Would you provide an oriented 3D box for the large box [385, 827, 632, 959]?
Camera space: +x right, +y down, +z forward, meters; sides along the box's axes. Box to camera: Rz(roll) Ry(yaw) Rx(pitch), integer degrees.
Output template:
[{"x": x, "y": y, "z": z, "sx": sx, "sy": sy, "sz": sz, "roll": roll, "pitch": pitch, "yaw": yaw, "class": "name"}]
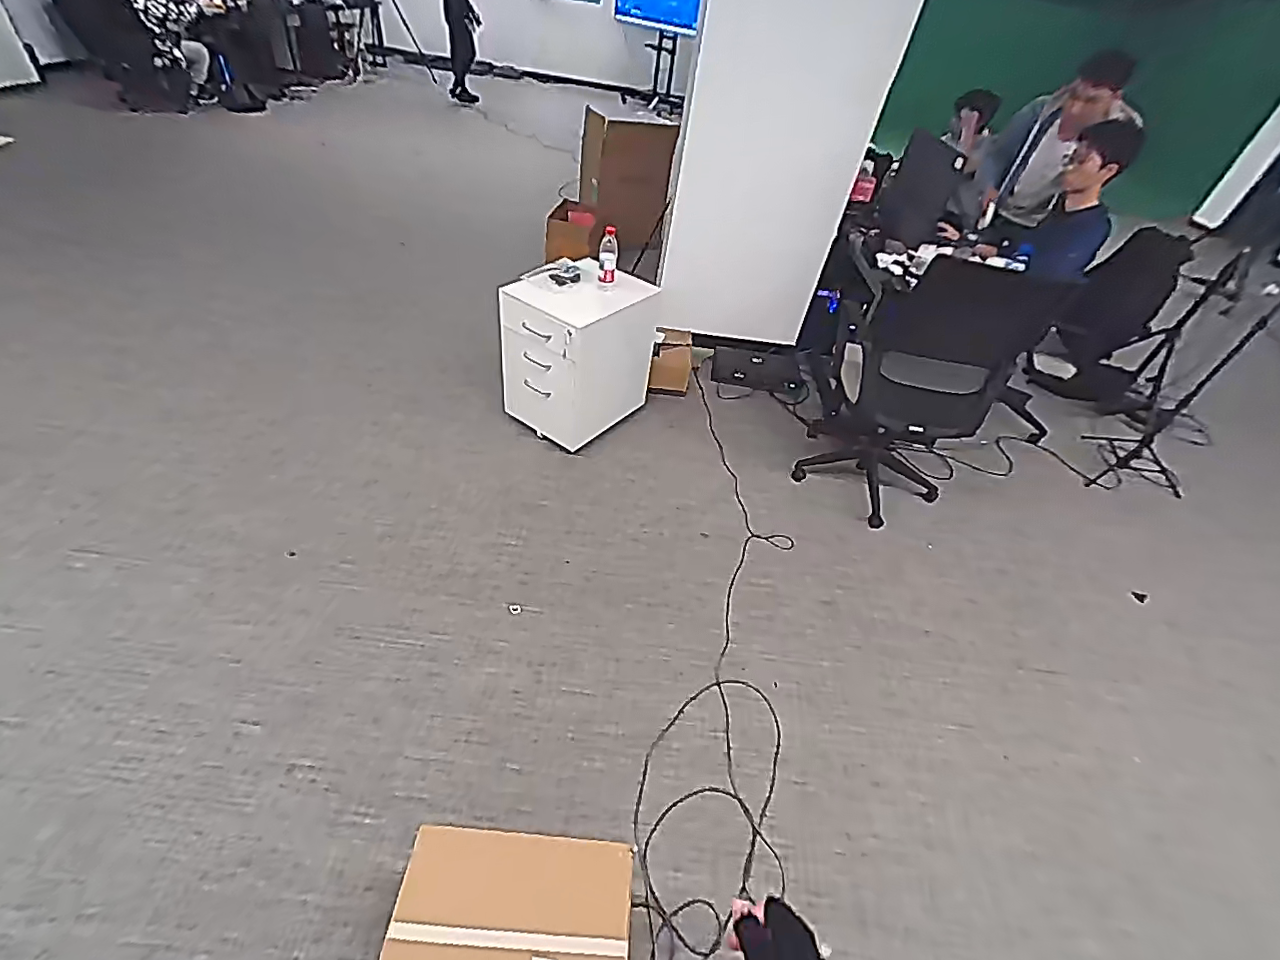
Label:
[{"x": -0.237, "y": 0.889, "z": 1.013, "sx": 0.408, "sy": 0.320, "sz": 0.320, "roll": 7, "pitch": 42, "yaw": -3, "class": "large box"}]
